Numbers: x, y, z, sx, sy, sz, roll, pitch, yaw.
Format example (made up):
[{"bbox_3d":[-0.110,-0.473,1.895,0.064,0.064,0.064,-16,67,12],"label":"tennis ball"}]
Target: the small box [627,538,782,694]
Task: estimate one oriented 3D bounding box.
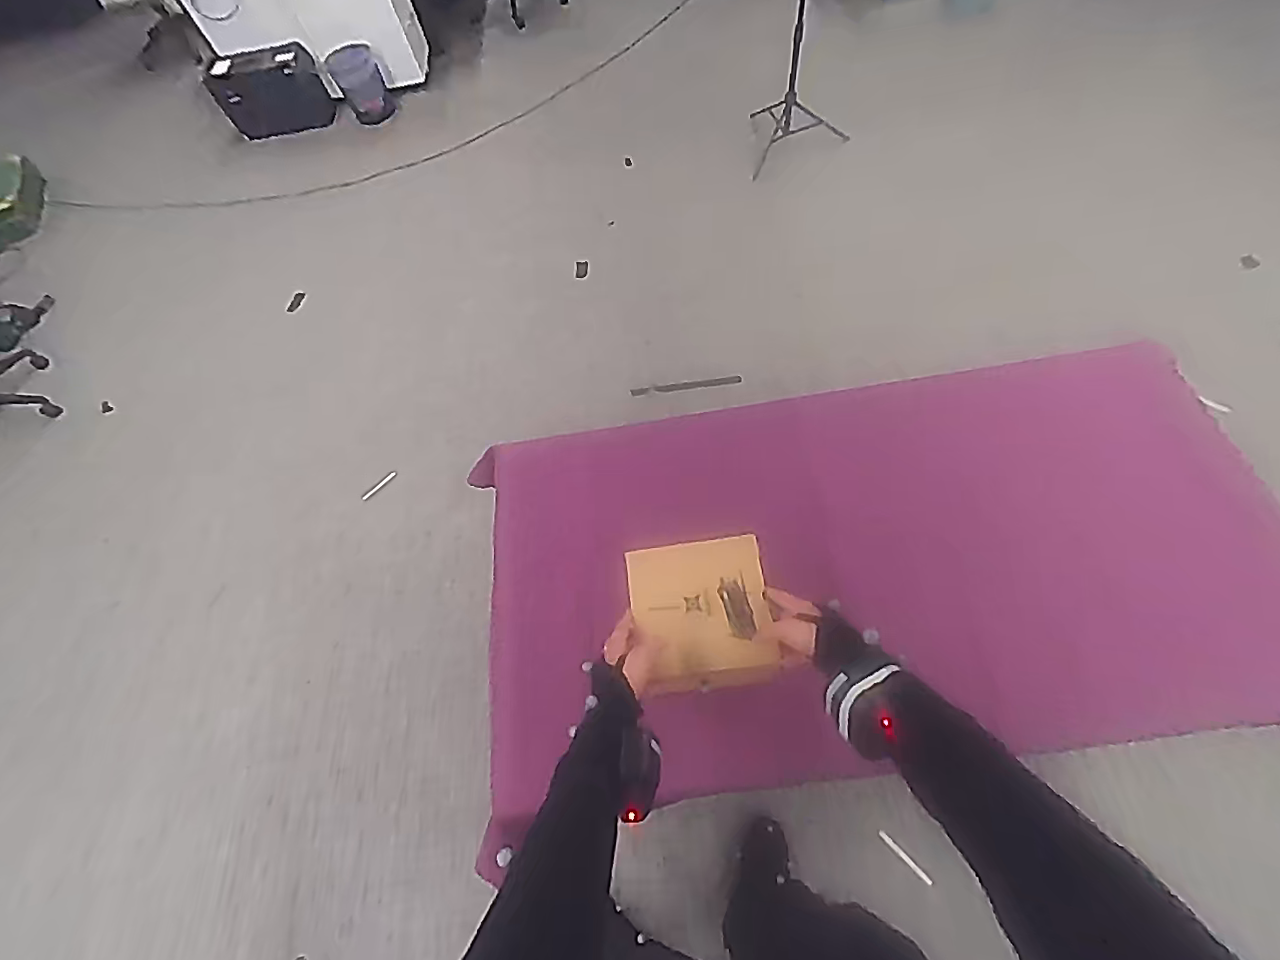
[{"bbox_3d":[0.084,0.194,0.748,0.179,0.176,0.168,-9,61,4],"label":"small box"}]
